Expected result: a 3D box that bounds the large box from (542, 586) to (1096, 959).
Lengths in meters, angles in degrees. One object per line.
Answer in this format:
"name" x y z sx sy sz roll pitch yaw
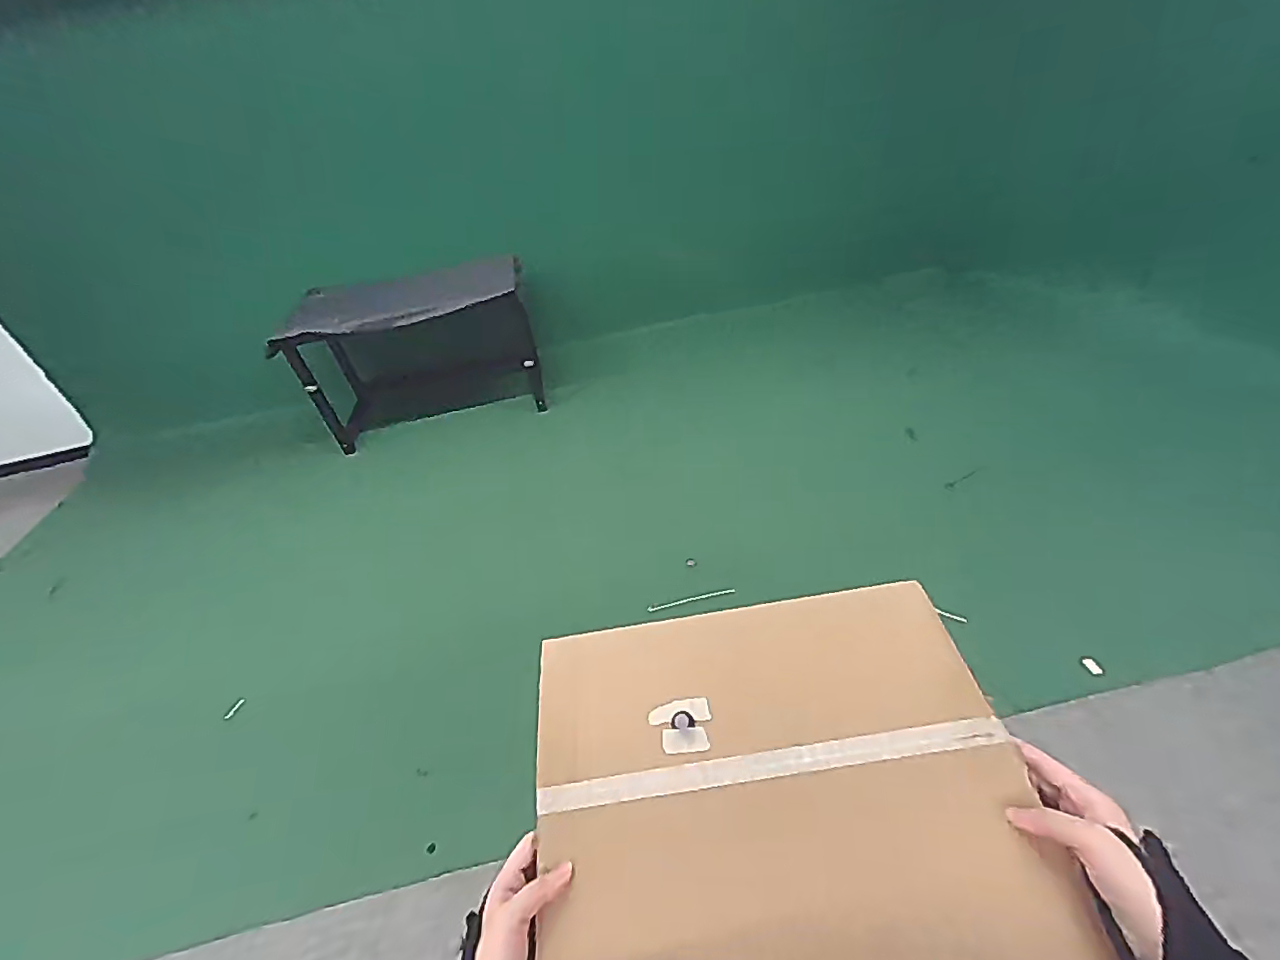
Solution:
"large box" 0.133 0.359 0.588 0.408 0.320 0.320 -11 46 3
